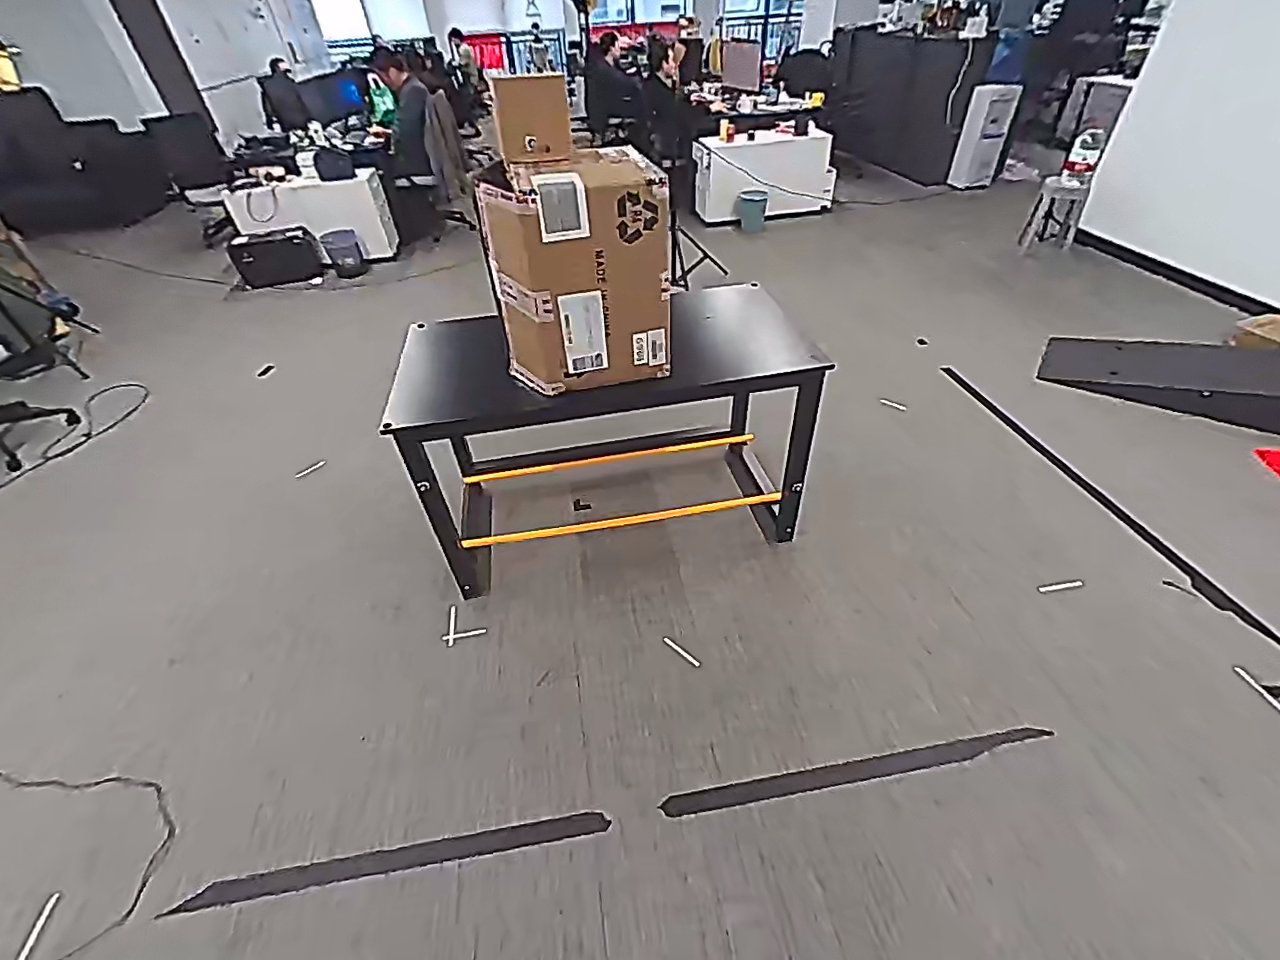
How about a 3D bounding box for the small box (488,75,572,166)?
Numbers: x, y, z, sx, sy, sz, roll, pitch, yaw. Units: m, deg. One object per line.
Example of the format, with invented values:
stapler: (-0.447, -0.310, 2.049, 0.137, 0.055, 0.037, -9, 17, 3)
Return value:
small box: (-0.265, -0.866, 1.302, 0.168, 0.176, 0.179, -12, 40, -11)
